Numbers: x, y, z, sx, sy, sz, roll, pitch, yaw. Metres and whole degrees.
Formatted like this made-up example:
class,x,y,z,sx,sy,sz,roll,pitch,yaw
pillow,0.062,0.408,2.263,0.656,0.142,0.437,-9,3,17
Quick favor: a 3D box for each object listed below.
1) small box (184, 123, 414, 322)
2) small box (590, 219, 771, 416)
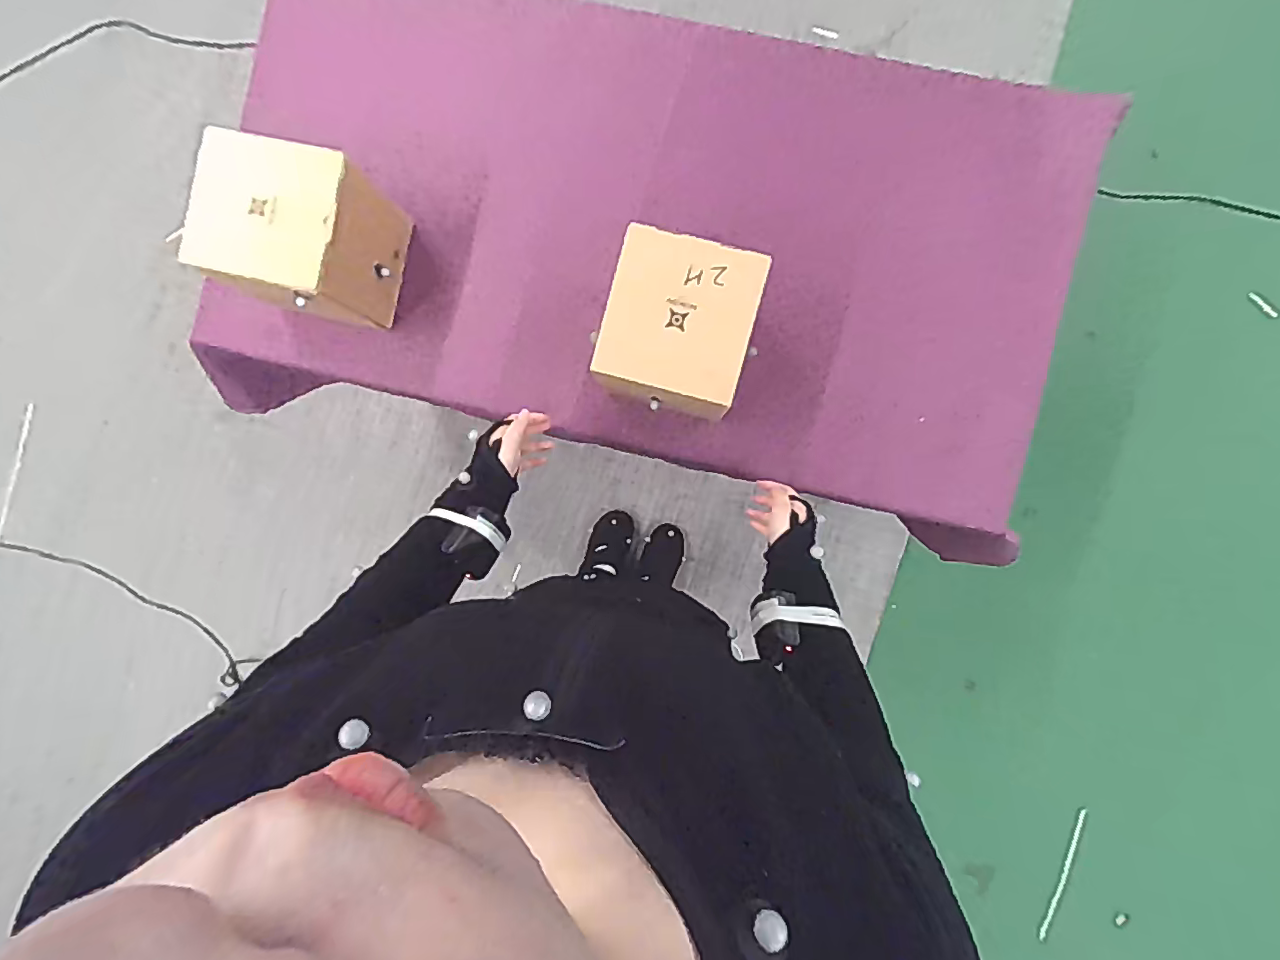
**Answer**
class,x,y,z,sx,sy,sz,roll,pitch,yaw
small box,-0.434,-0.324,0.714,0.179,0.176,0.168,13,91,2
small box,0.050,-0.188,0.683,0.168,0.176,0.179,16,91,3
